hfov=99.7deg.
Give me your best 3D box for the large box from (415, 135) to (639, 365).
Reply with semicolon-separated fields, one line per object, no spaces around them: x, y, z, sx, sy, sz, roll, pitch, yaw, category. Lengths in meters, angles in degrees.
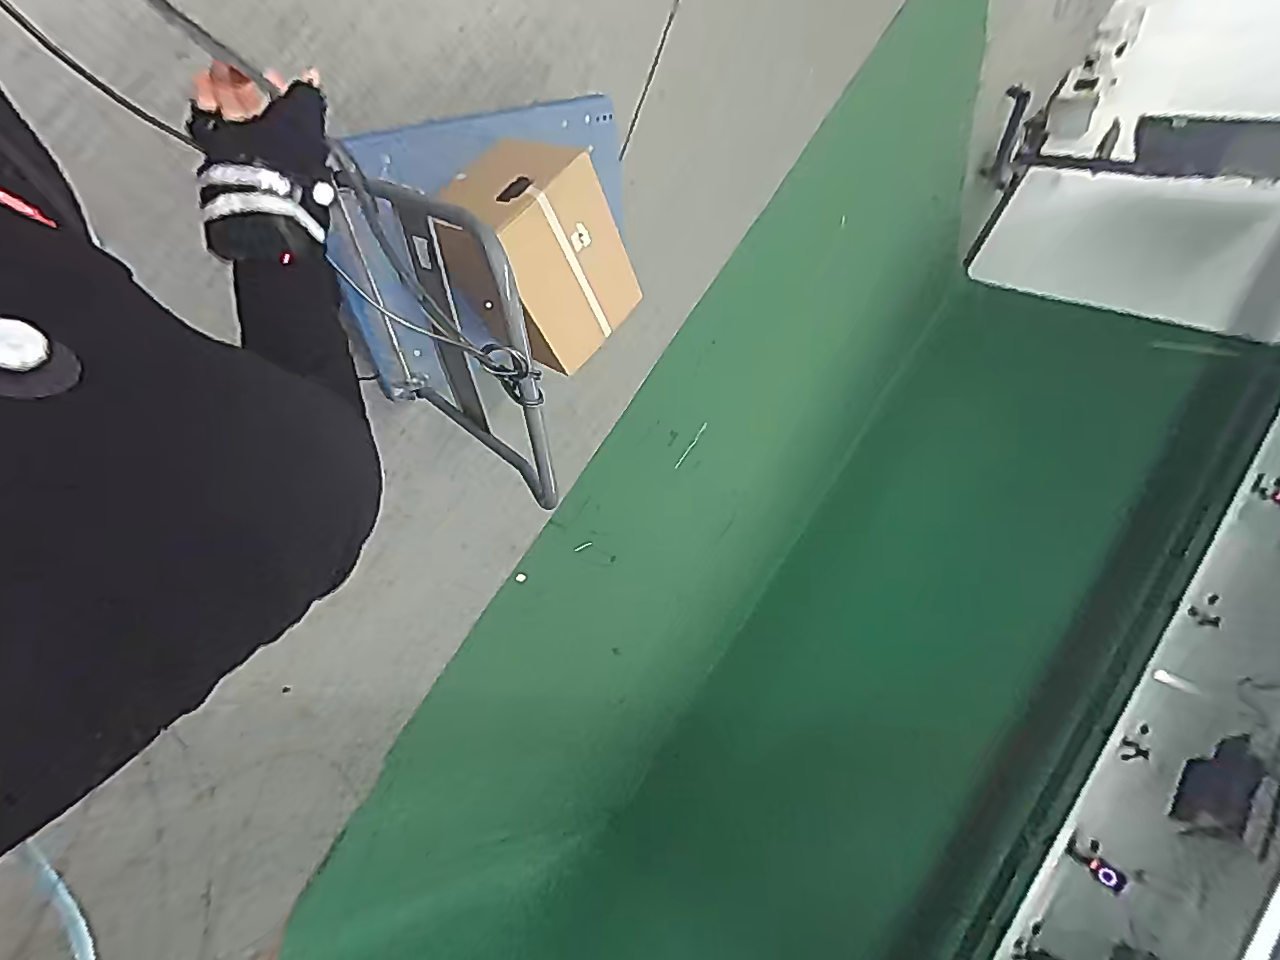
-0.264;-0.567;1.353;0.320;0.320;0.408;-50;145;-14;large box
